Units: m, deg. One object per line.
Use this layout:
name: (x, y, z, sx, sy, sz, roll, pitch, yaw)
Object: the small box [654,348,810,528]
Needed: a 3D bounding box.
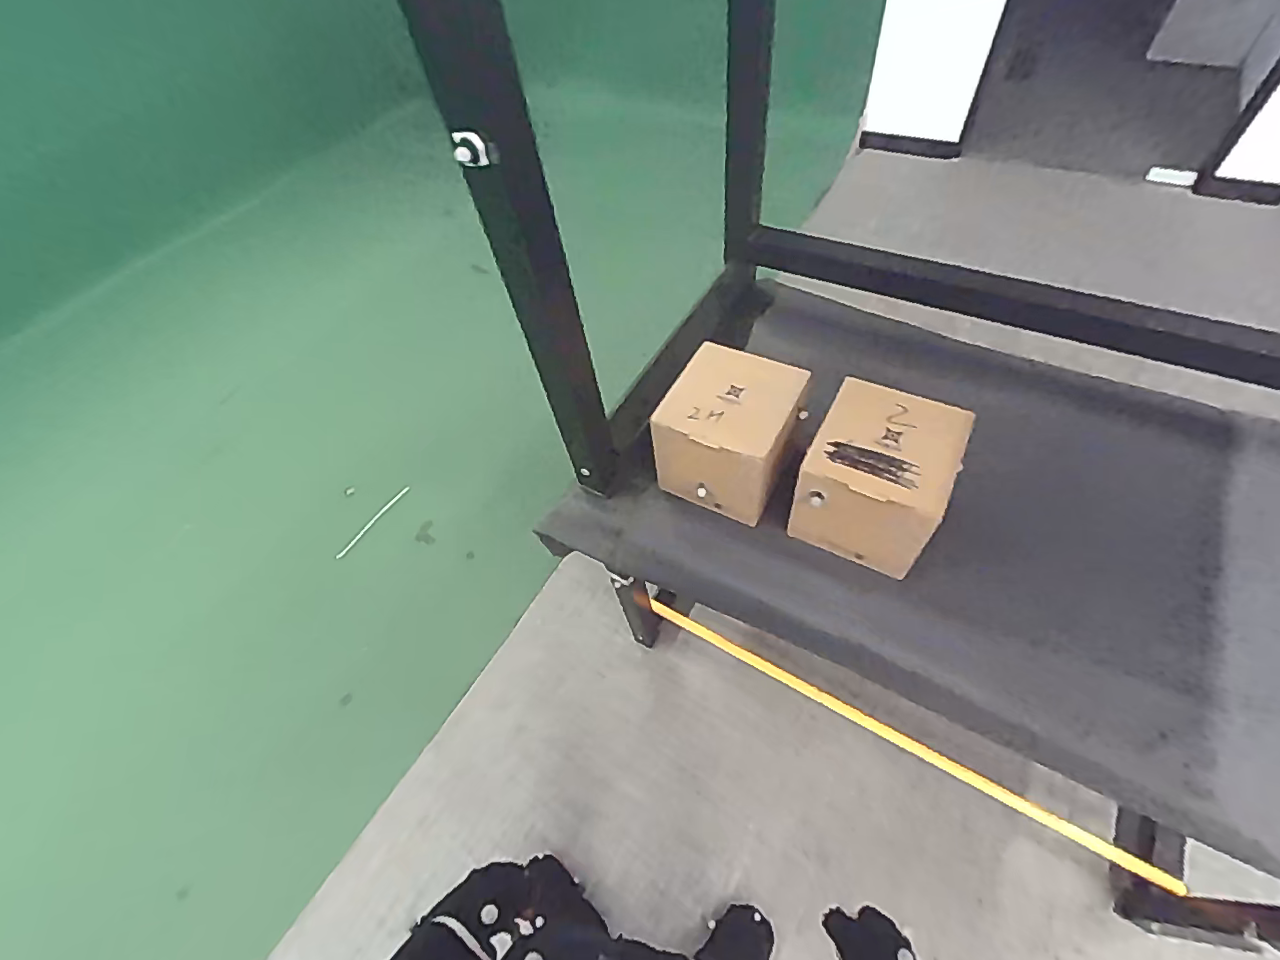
small box: (0.135, -0.061, 0.810, 0.168, 0.176, 0.179, 22, 61, 21)
